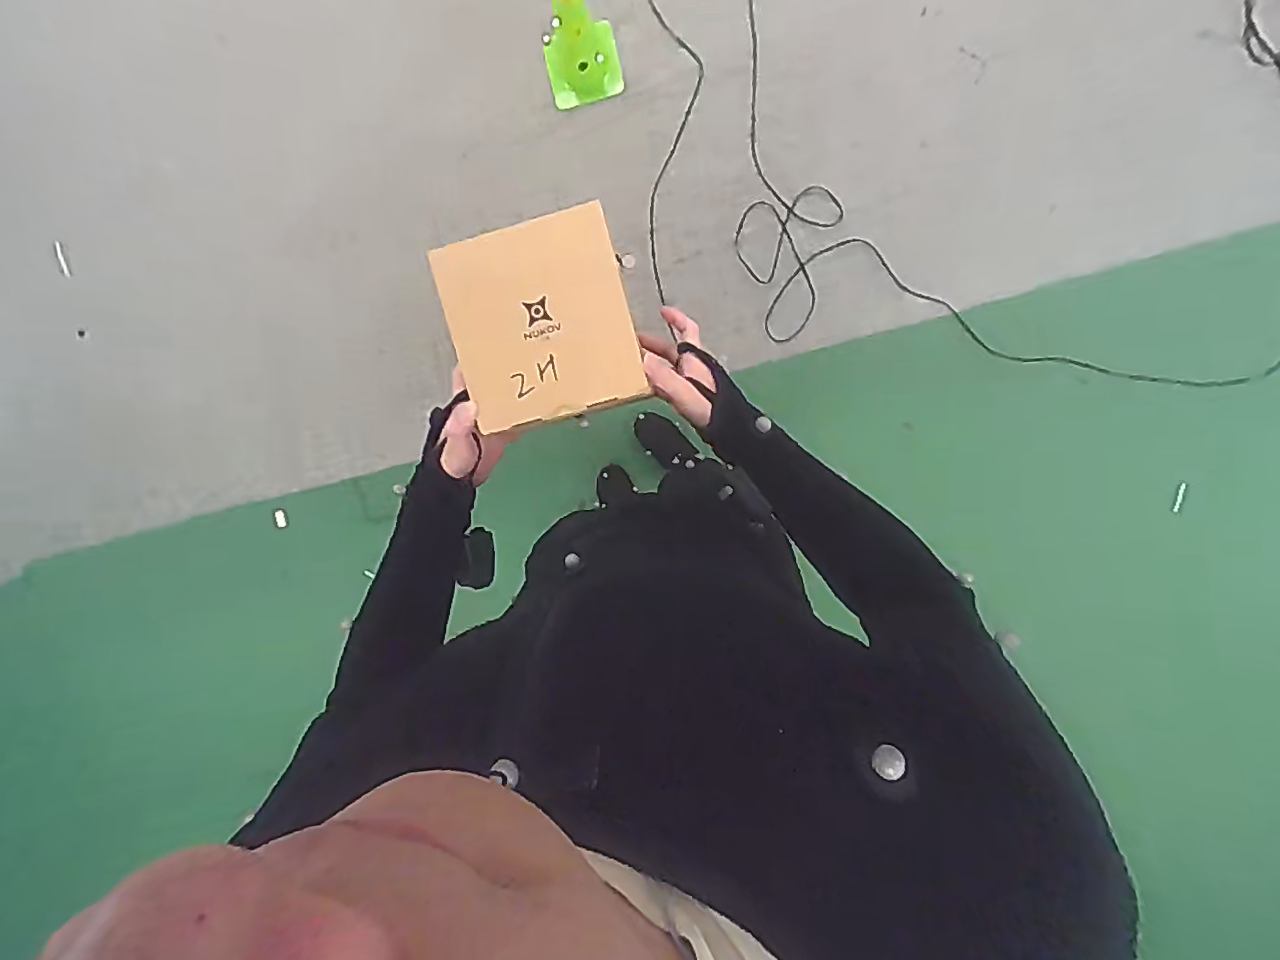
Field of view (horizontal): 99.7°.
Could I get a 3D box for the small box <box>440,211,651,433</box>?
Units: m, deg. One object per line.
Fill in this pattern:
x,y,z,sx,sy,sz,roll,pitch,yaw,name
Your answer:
-0.086,-0.153,0.582,0.168,0.176,0.179,-13,96,4,small box

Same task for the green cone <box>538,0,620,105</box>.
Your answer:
-0.177,-1.159,1.353,0.202,0.368,0.200,-14,96,3,green cone
